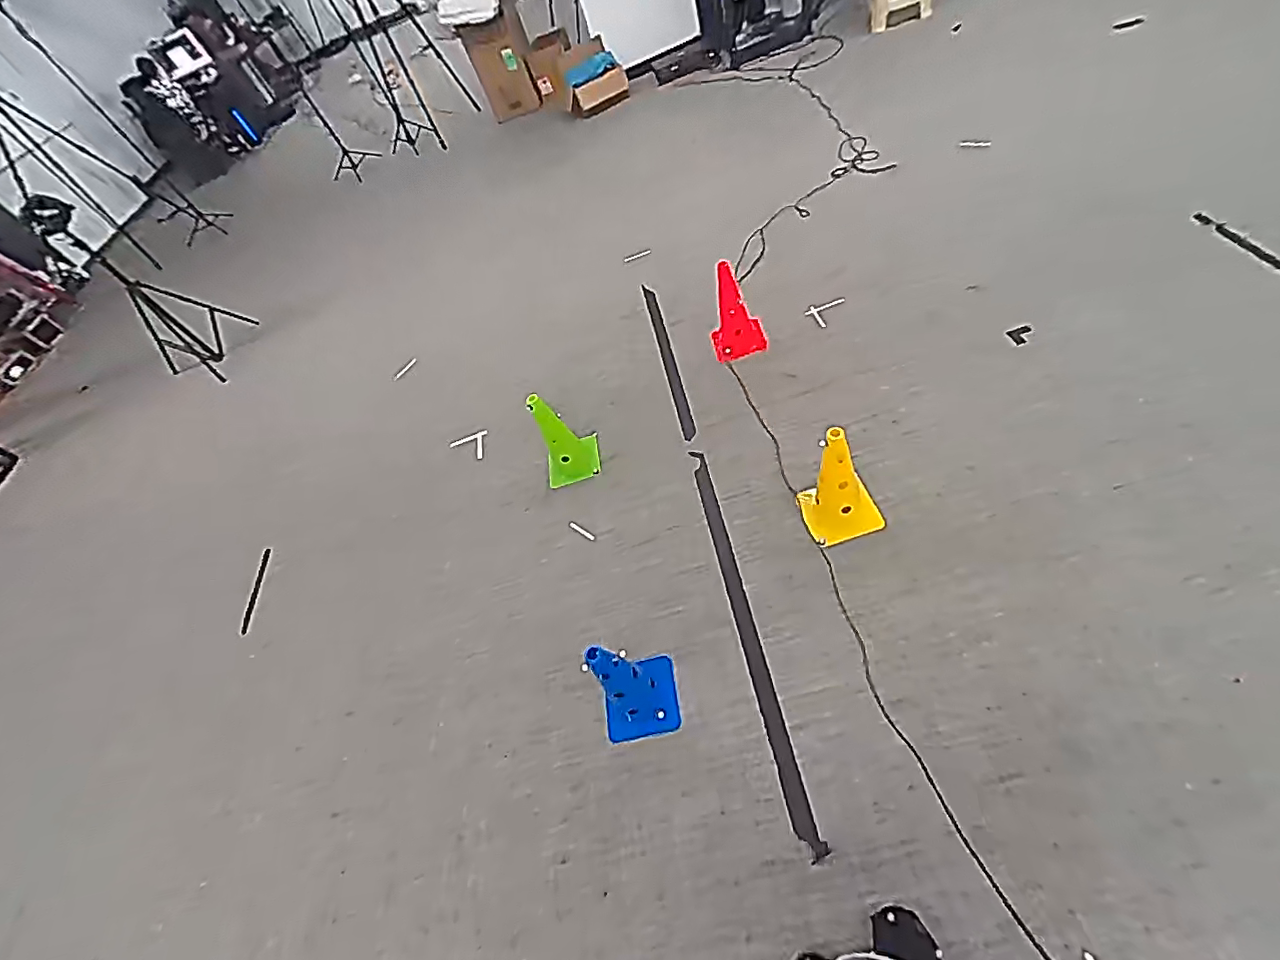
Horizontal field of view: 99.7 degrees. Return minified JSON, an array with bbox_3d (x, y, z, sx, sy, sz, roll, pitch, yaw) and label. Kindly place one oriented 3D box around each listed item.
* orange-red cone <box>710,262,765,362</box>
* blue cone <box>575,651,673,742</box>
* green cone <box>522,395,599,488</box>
[{"bbox_3d":[0.335,-0.653,2.023,0.199,0.360,0.198,-14,52,10],"label":"orange-red cone"},{"bbox_3d":[-0.060,0.496,1.330,0.192,0.380,0.193,-16,50,11],"label":"blue cone"},{"bbox_3d":[-0.310,-0.170,1.911,0.202,0.368,0.200,-19,50,9],"label":"green cone"}]
